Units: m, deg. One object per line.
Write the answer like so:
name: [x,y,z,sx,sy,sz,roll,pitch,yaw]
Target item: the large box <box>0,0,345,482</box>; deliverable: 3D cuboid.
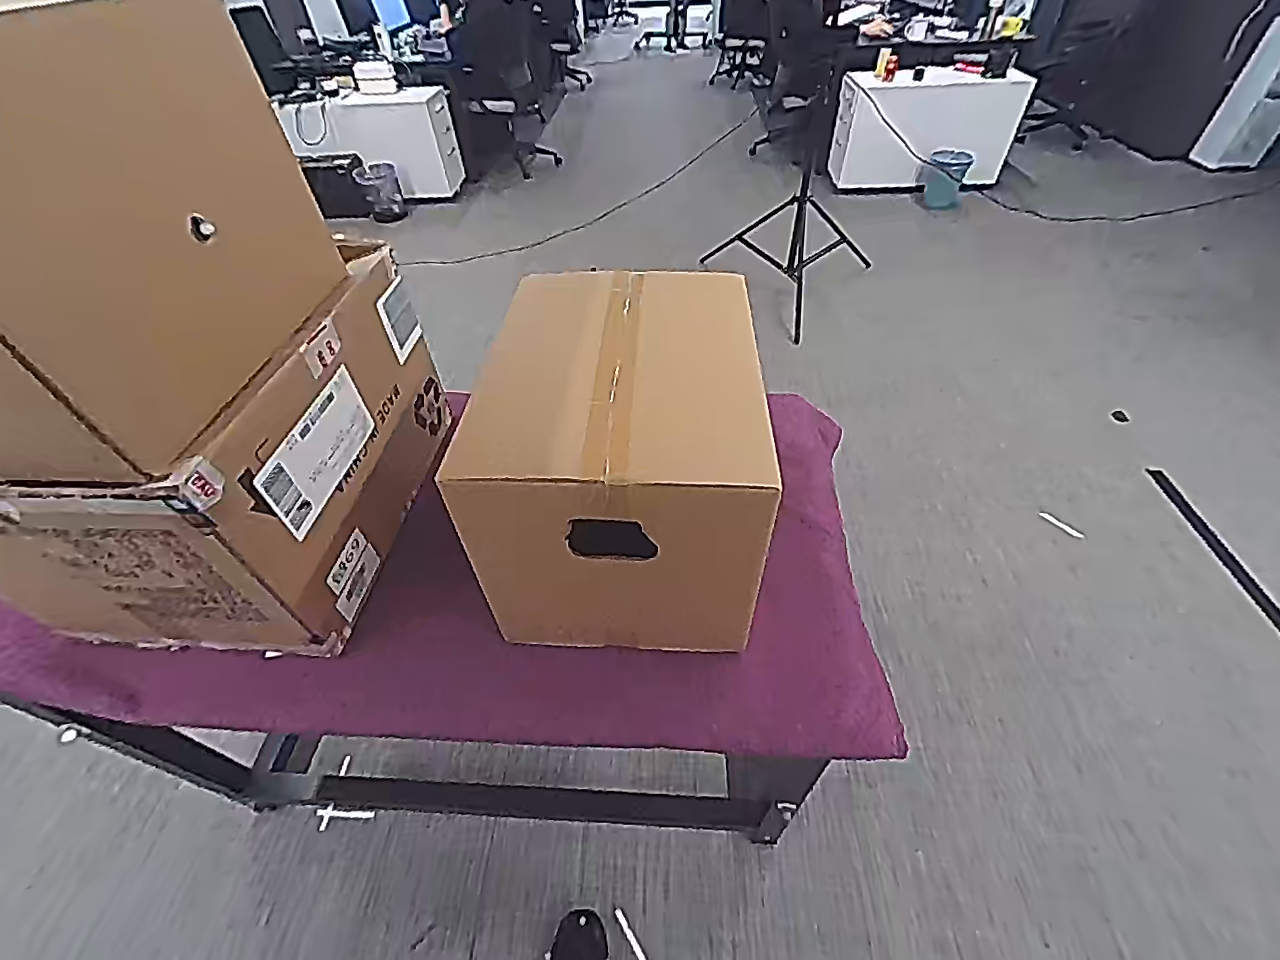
large box: [-0.567,-0.246,0.522,0.320,0.320,0.408,-1,47,4]
